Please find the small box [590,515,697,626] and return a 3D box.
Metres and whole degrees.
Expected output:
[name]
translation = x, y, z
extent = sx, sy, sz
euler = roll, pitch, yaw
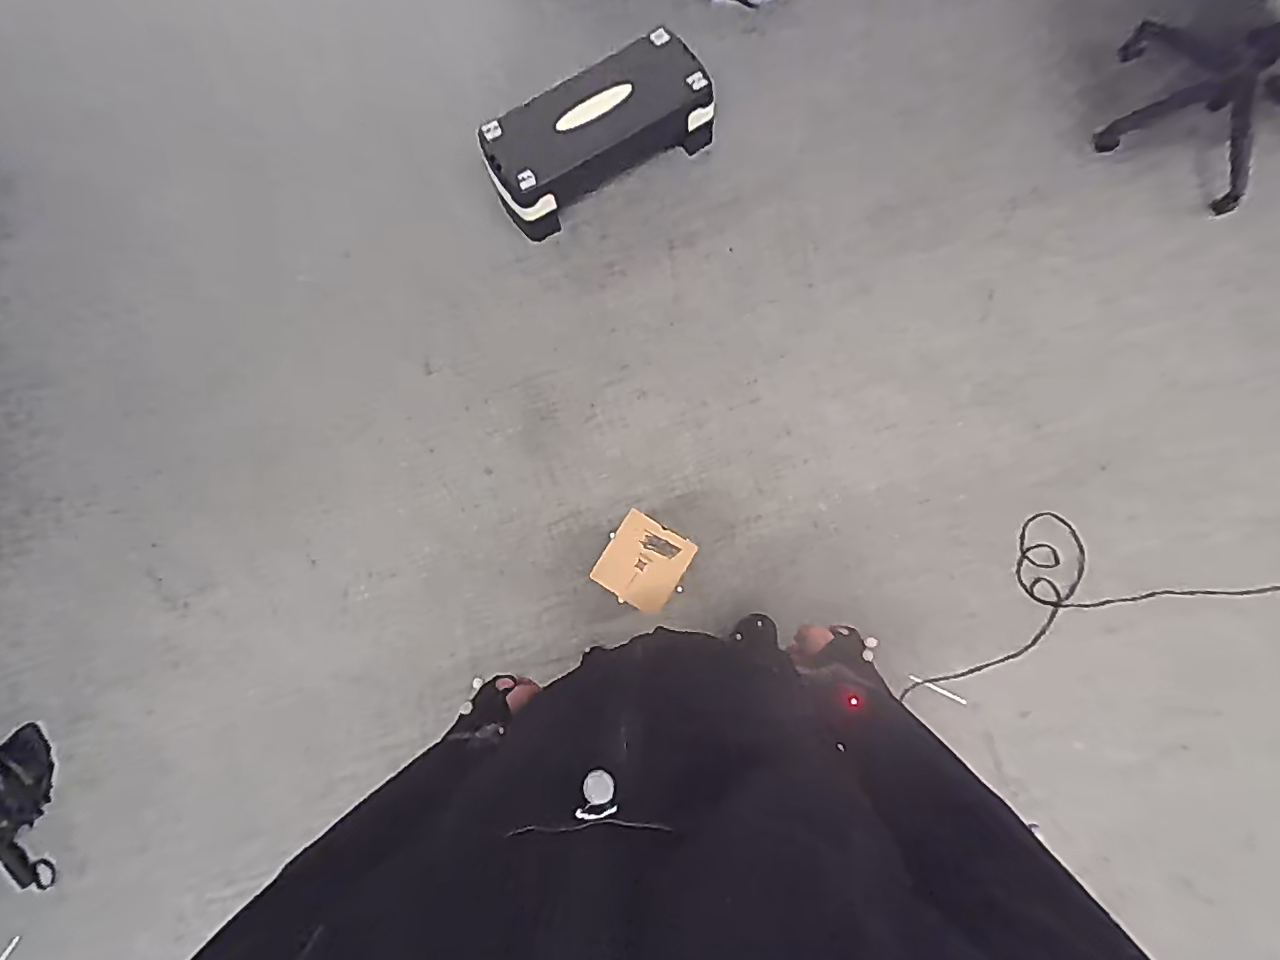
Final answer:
[small box]
translation = 0.011, 0.203, 1.203
extent = 0.168, 0.176, 0.179
euler = 31, 82, 10
